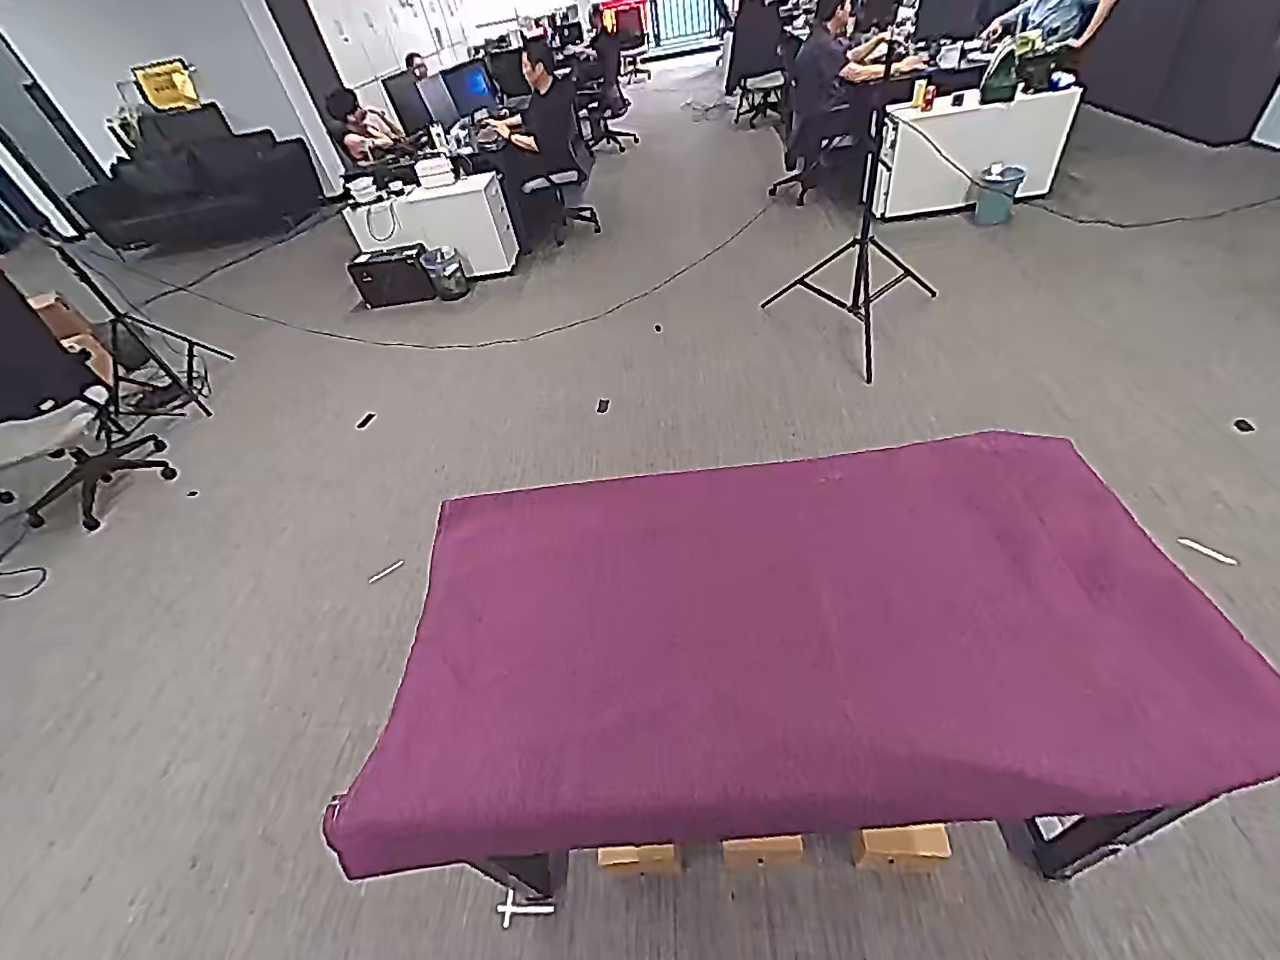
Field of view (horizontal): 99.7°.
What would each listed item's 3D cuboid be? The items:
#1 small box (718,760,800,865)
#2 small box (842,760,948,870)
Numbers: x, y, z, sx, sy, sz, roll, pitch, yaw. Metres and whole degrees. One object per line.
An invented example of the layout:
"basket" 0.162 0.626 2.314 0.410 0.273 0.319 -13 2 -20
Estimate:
"small box" 0.270 0.765 1.242 0.168 0.176 0.179 -5 43 7
"small box" 0.556 0.747 1.203 0.168 0.176 0.179 -3 43 10
